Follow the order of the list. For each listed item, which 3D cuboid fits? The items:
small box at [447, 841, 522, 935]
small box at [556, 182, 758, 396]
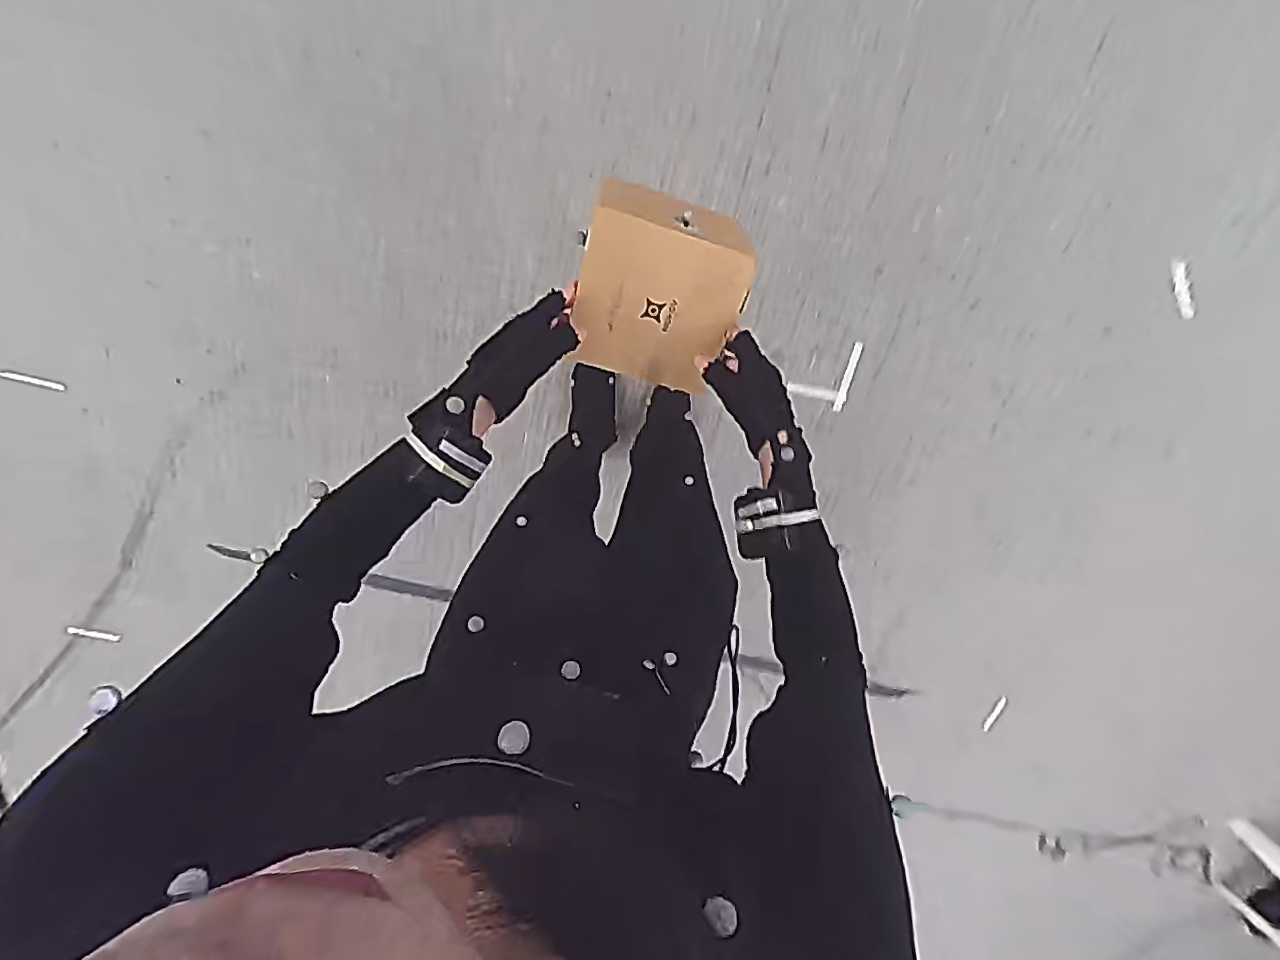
[{"bbox_3d":[-0.481,1.268,1.689,0.179,0.176,0.168,15,111,-5],"label":"small box"},{"bbox_3d":[0.012,-0.226,0.630,0.179,0.176,0.168,14,126,-11],"label":"small box"}]
